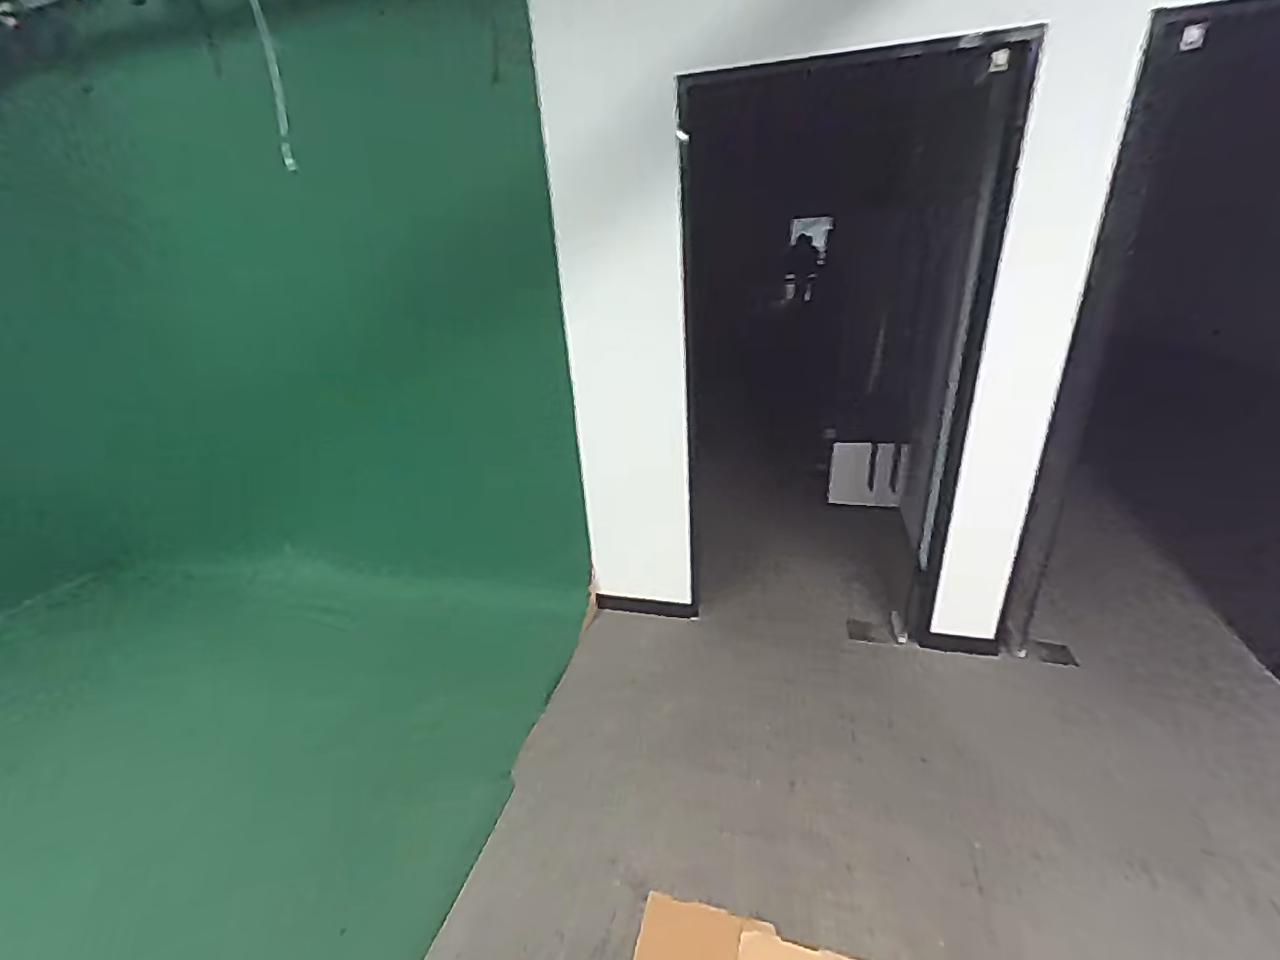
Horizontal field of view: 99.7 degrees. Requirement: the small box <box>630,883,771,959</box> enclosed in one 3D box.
[{"bbox_3d":[0.071,0.665,0.677,0.168,0.176,0.179,5,26,16],"label":"small box"}]
